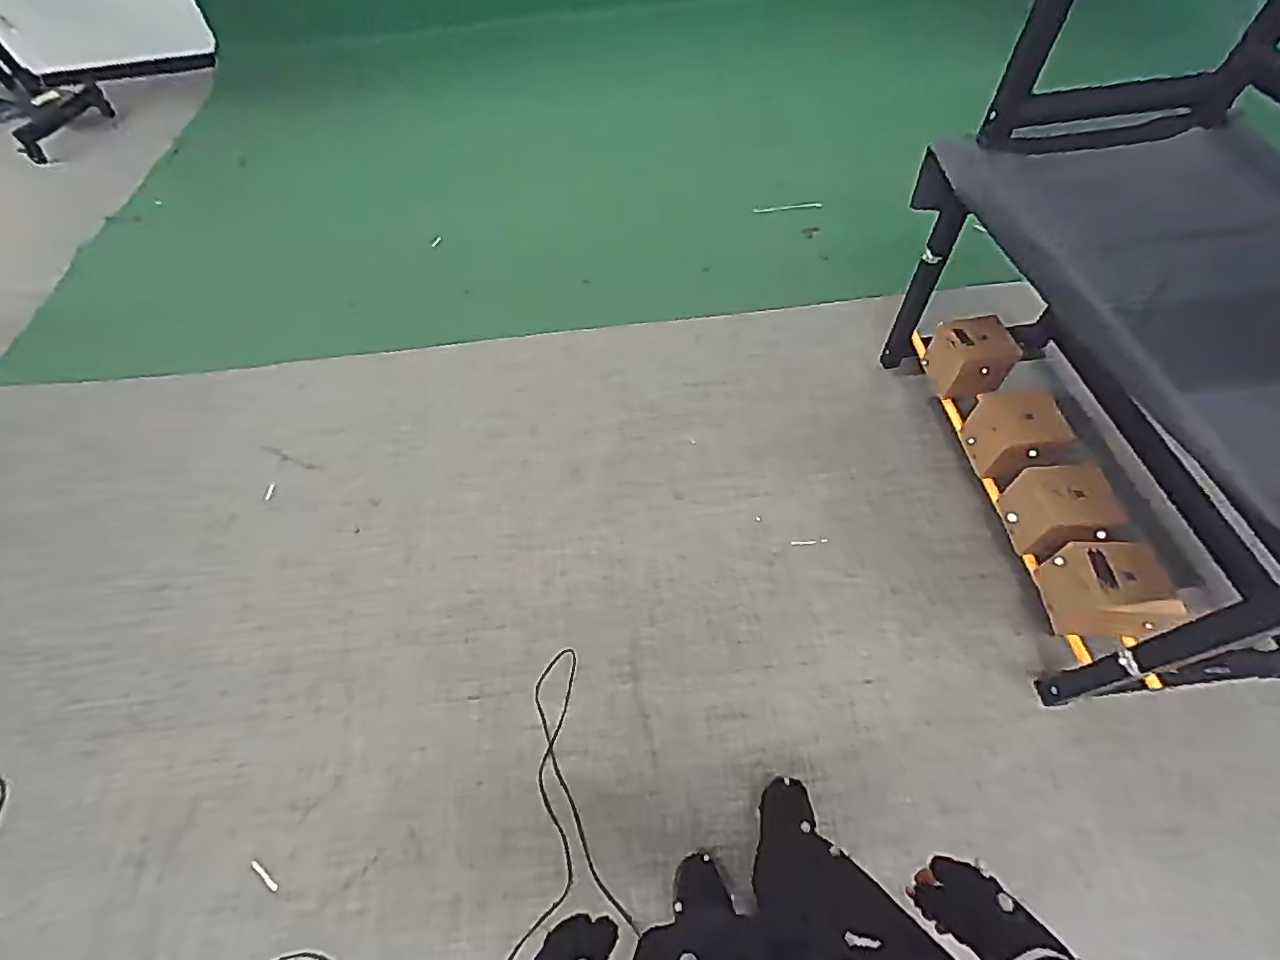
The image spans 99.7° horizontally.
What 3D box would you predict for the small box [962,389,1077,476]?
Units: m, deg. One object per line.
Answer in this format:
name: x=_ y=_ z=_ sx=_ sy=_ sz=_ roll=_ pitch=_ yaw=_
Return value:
small box: x=1.032 y=-0.128 z=1.488 sx=0.179 sy=0.176 sz=0.168 roll=-6 pitch=58 yaw=3
